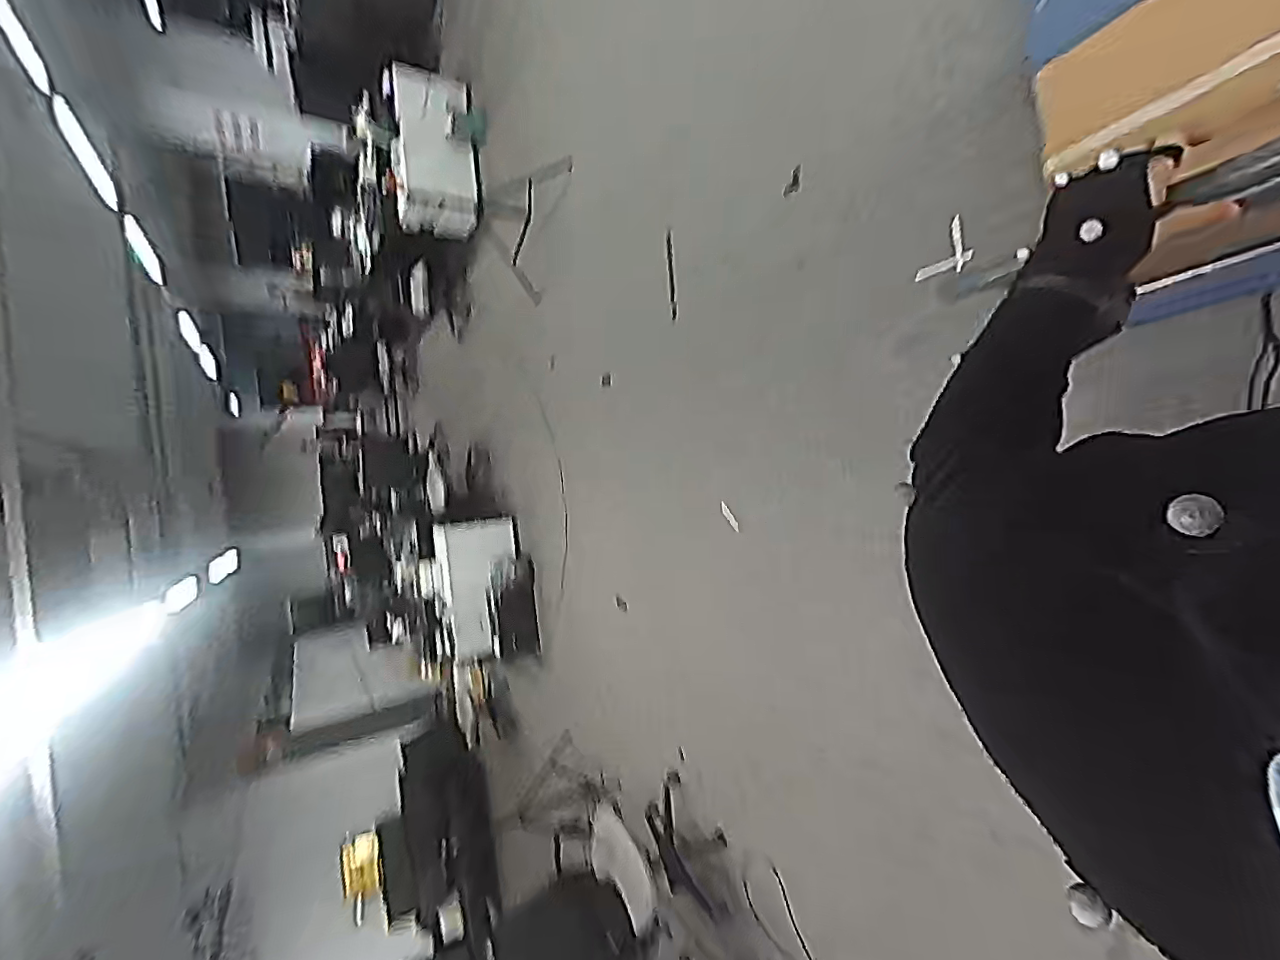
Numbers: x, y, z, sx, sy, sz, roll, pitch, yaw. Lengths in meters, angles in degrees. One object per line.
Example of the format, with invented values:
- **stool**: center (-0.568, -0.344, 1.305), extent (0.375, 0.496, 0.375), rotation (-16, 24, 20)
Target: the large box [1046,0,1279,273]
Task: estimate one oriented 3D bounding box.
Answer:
- **large box**: center (0.902, -0.548, 0.777), extent (0.408, 0.320, 0.320), rotation (-13, 85, 56)
